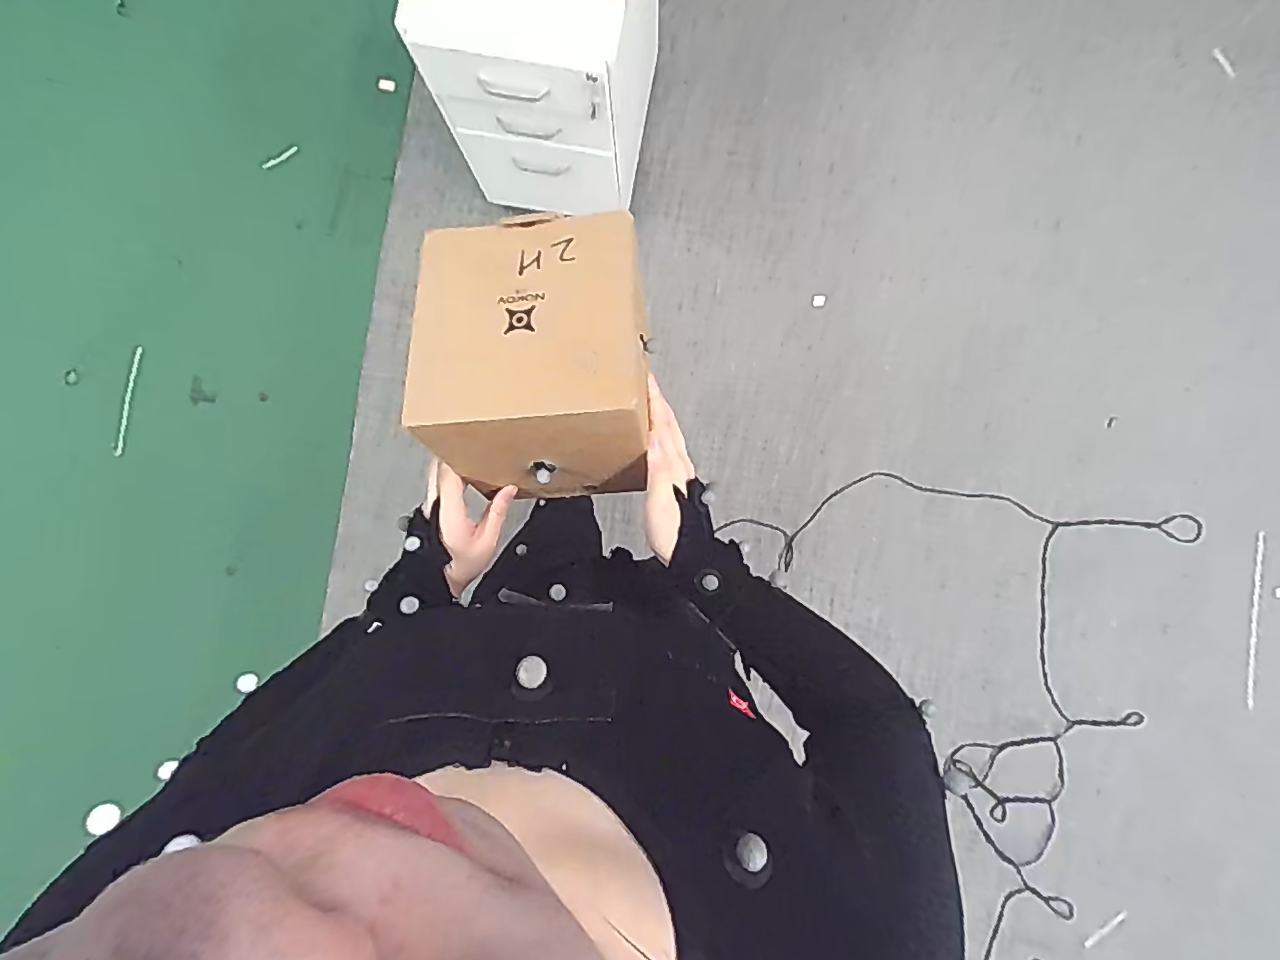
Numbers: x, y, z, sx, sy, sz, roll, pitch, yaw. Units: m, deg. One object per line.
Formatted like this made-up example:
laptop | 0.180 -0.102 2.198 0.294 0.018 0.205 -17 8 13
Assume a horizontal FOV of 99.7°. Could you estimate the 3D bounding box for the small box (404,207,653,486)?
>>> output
small box | -0.077 -0.099 0.470 0.168 0.176 0.179 -3 70 4
